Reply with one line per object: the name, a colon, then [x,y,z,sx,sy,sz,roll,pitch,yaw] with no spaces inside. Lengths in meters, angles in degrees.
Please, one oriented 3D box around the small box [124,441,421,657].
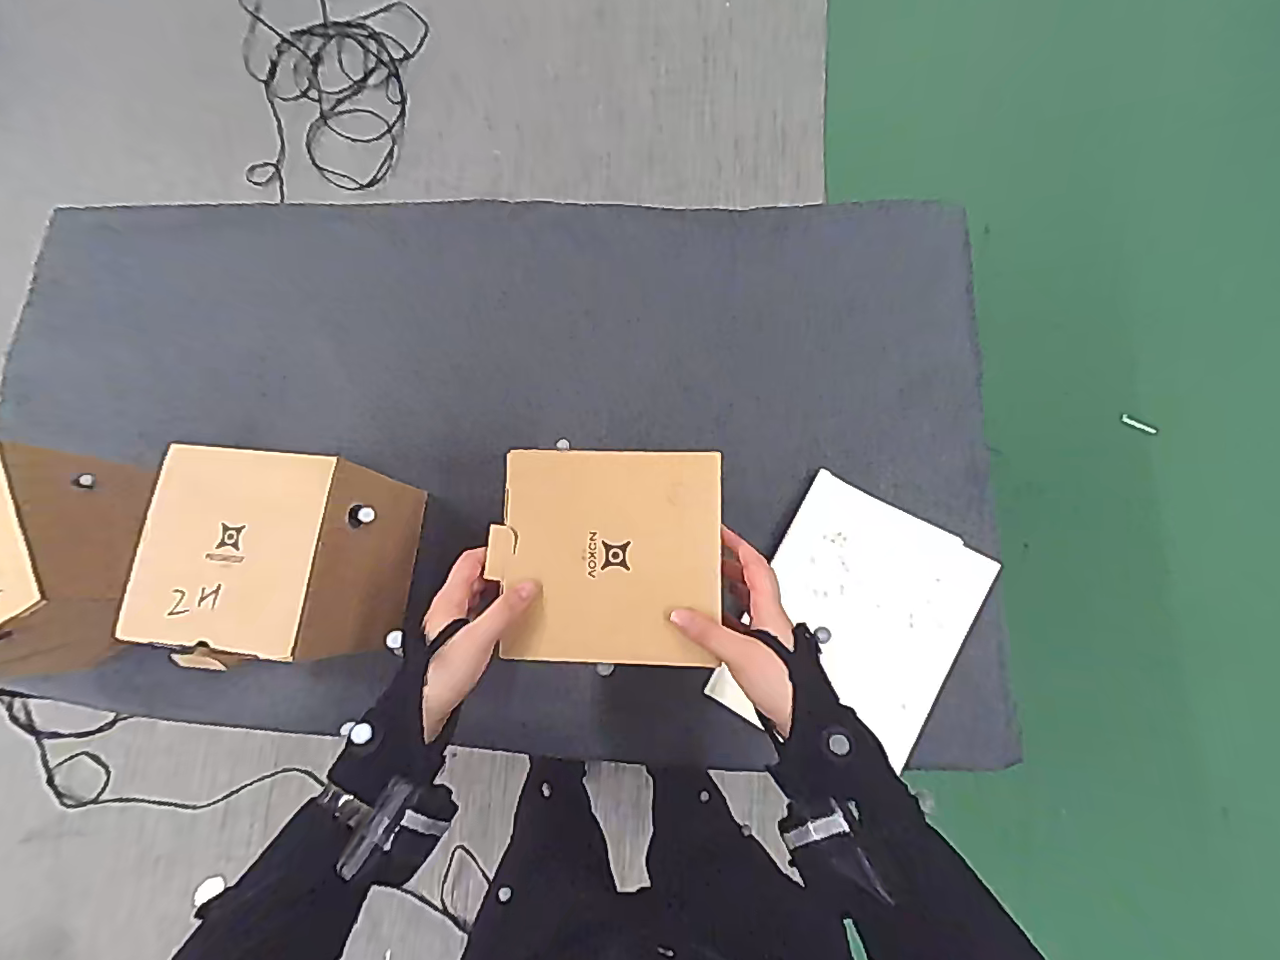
small box: [-0.346,0.071,0.548,0.168,0.176,0.179,4,79,7]
